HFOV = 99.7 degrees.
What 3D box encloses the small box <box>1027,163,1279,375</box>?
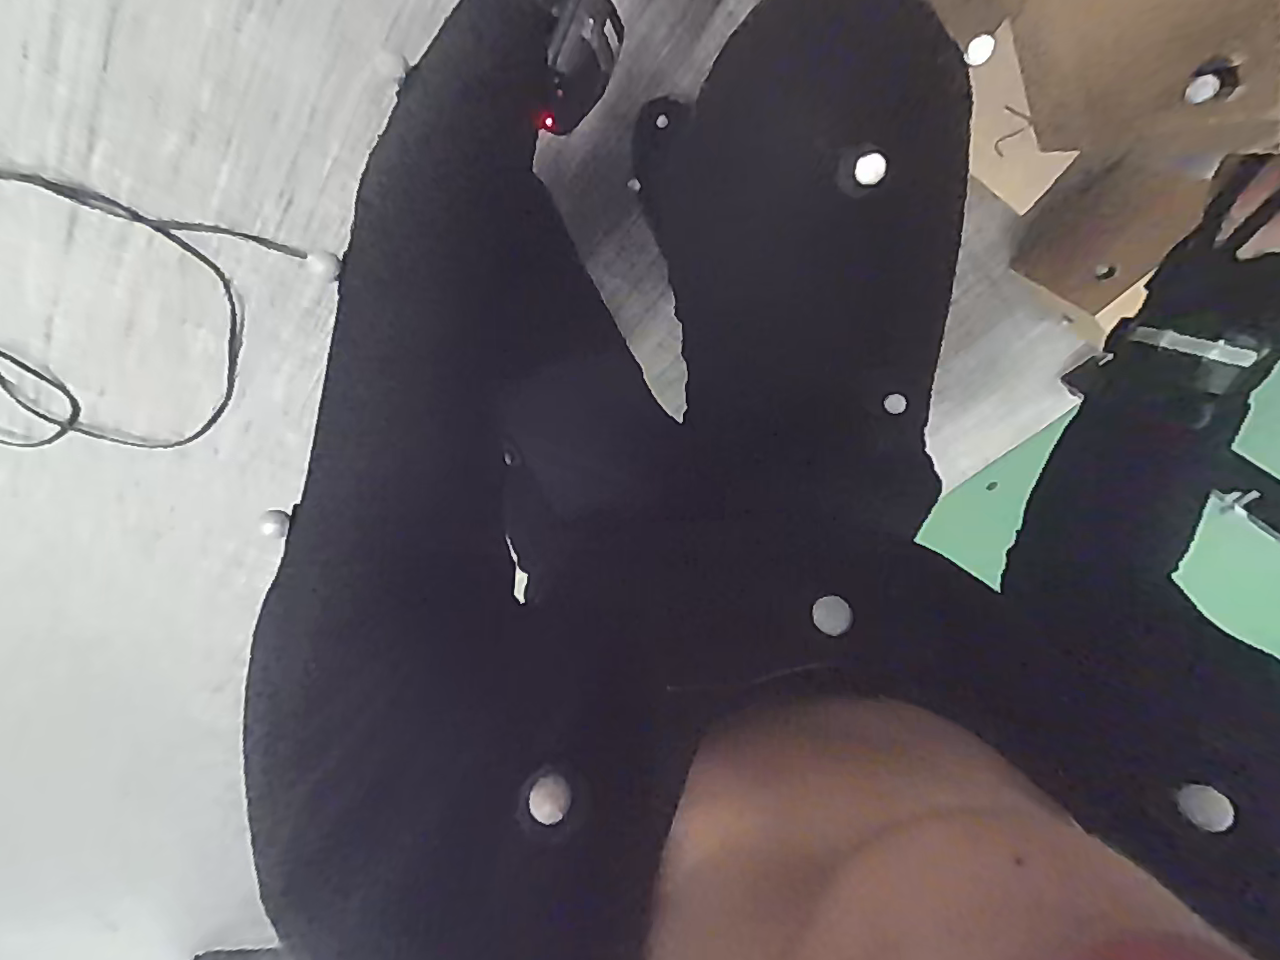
[{"bbox_3d":[0.666,-0.280,0.720,0.168,0.176,0.179,24,123,-28],"label":"small box"}]
